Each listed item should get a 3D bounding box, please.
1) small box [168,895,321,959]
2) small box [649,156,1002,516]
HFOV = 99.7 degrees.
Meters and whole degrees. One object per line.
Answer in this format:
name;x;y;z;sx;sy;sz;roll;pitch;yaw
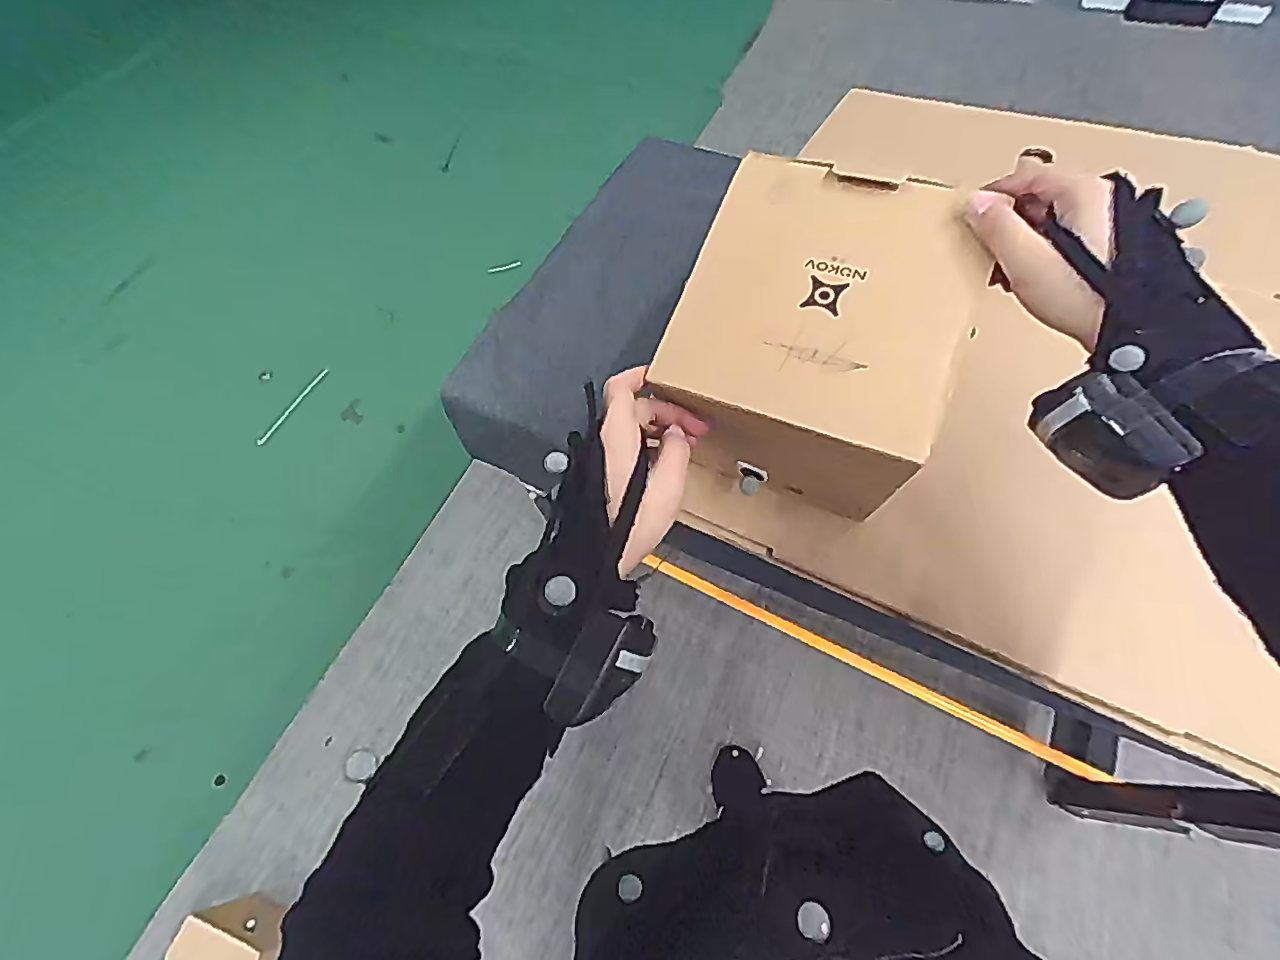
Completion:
small box;-0.746;0.910;1.005;0.179;0.176;0.168;13;65;14
small box;0.124;-0.092;0.402;0.168;0.176;0.179;20;80;17
